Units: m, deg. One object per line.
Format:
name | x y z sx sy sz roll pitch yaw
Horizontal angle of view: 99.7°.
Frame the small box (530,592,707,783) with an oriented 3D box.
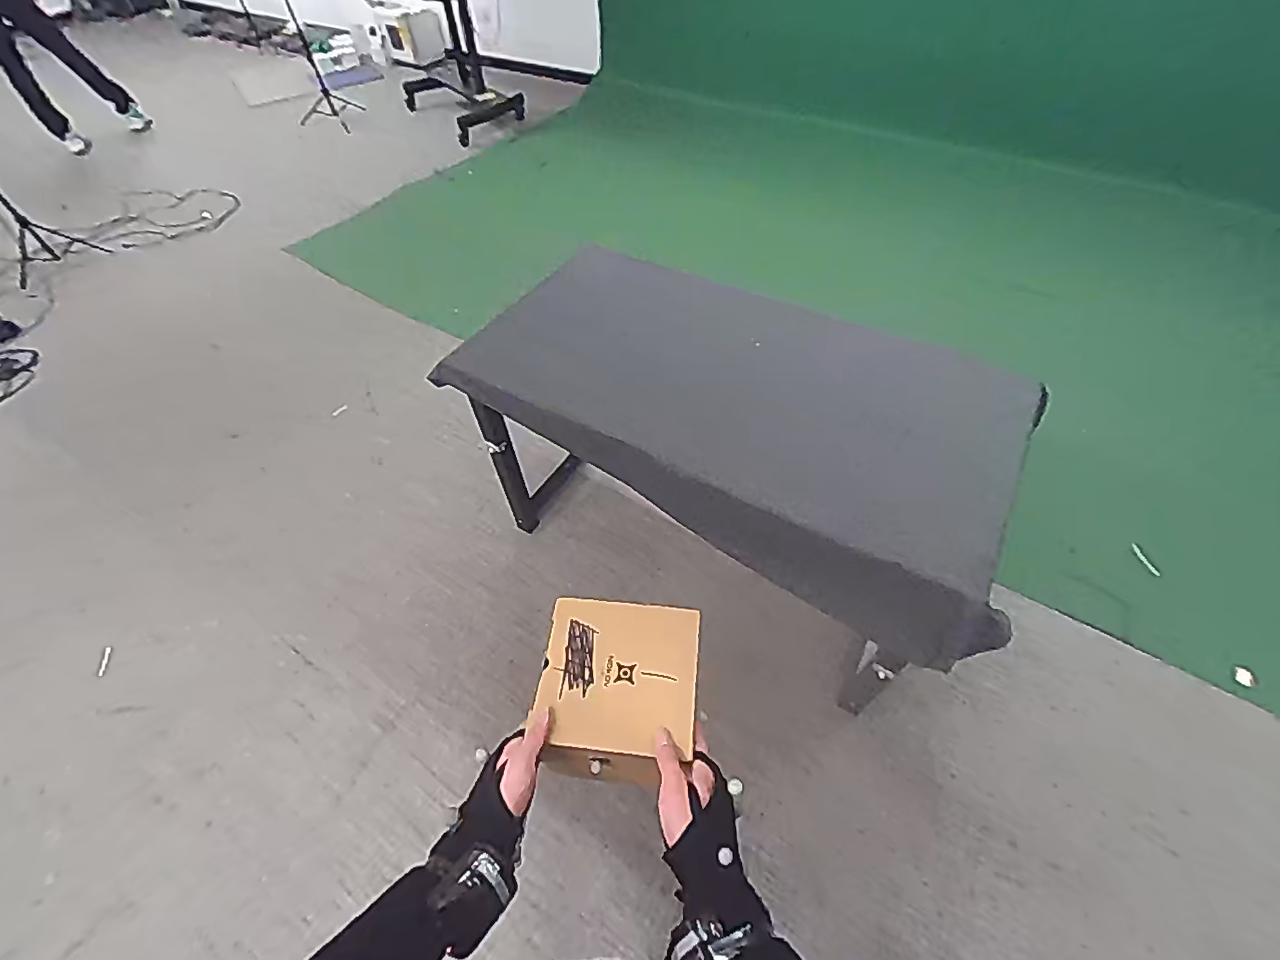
small box | -0.016 0.254 0.653 0.179 0.176 0.168 5 52 5
